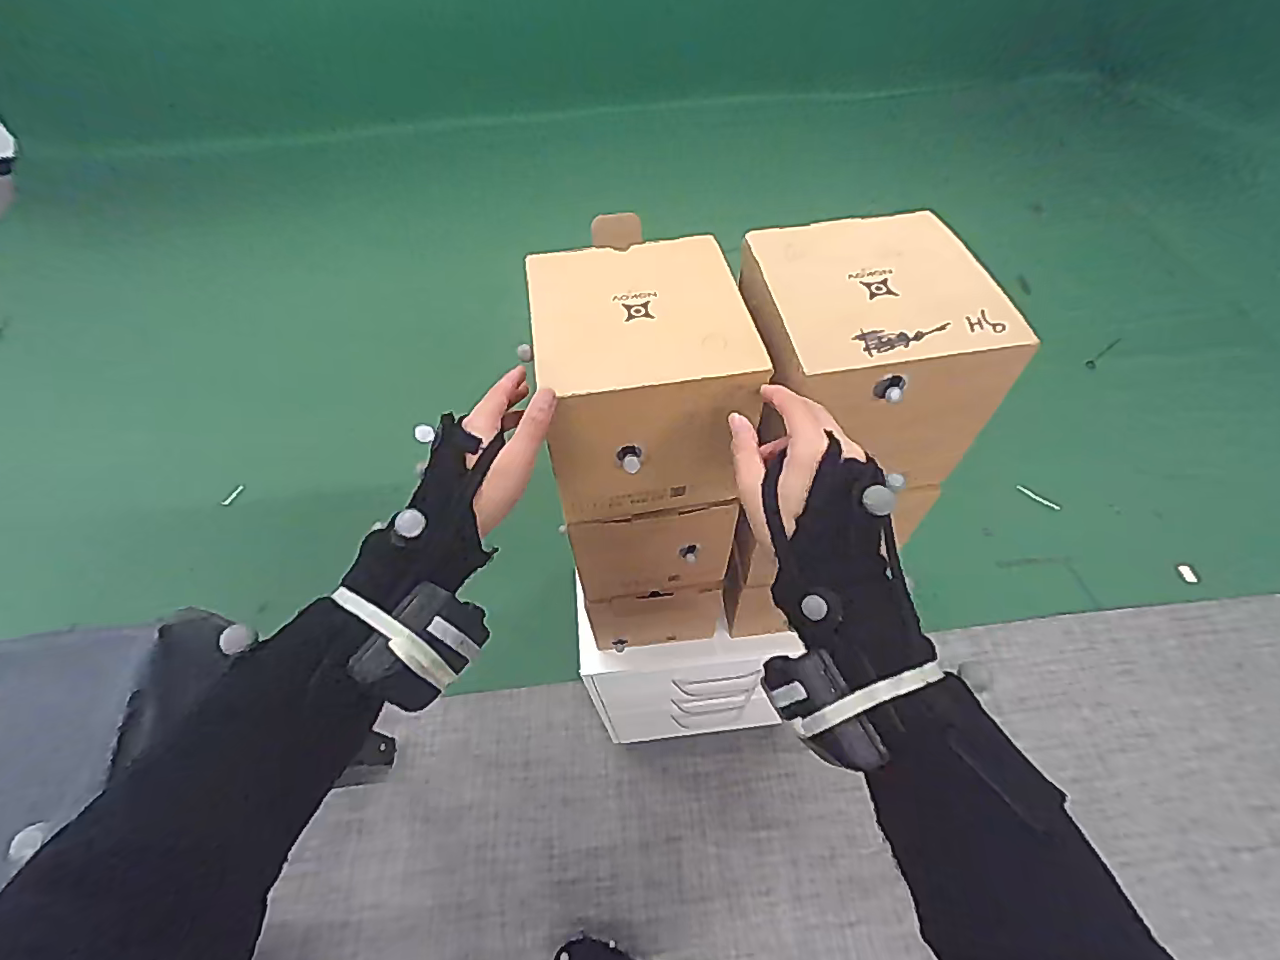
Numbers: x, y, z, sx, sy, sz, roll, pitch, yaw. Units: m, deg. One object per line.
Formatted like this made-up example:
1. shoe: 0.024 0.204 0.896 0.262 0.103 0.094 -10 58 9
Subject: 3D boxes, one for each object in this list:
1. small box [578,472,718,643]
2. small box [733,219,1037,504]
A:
1. small box: 0.008 0.112 0.739 0.168 0.176 0.179 -5 54 -3
2. small box: 0.185 -0.101 0.480 0.168 0.176 0.179 -7 54 -2
